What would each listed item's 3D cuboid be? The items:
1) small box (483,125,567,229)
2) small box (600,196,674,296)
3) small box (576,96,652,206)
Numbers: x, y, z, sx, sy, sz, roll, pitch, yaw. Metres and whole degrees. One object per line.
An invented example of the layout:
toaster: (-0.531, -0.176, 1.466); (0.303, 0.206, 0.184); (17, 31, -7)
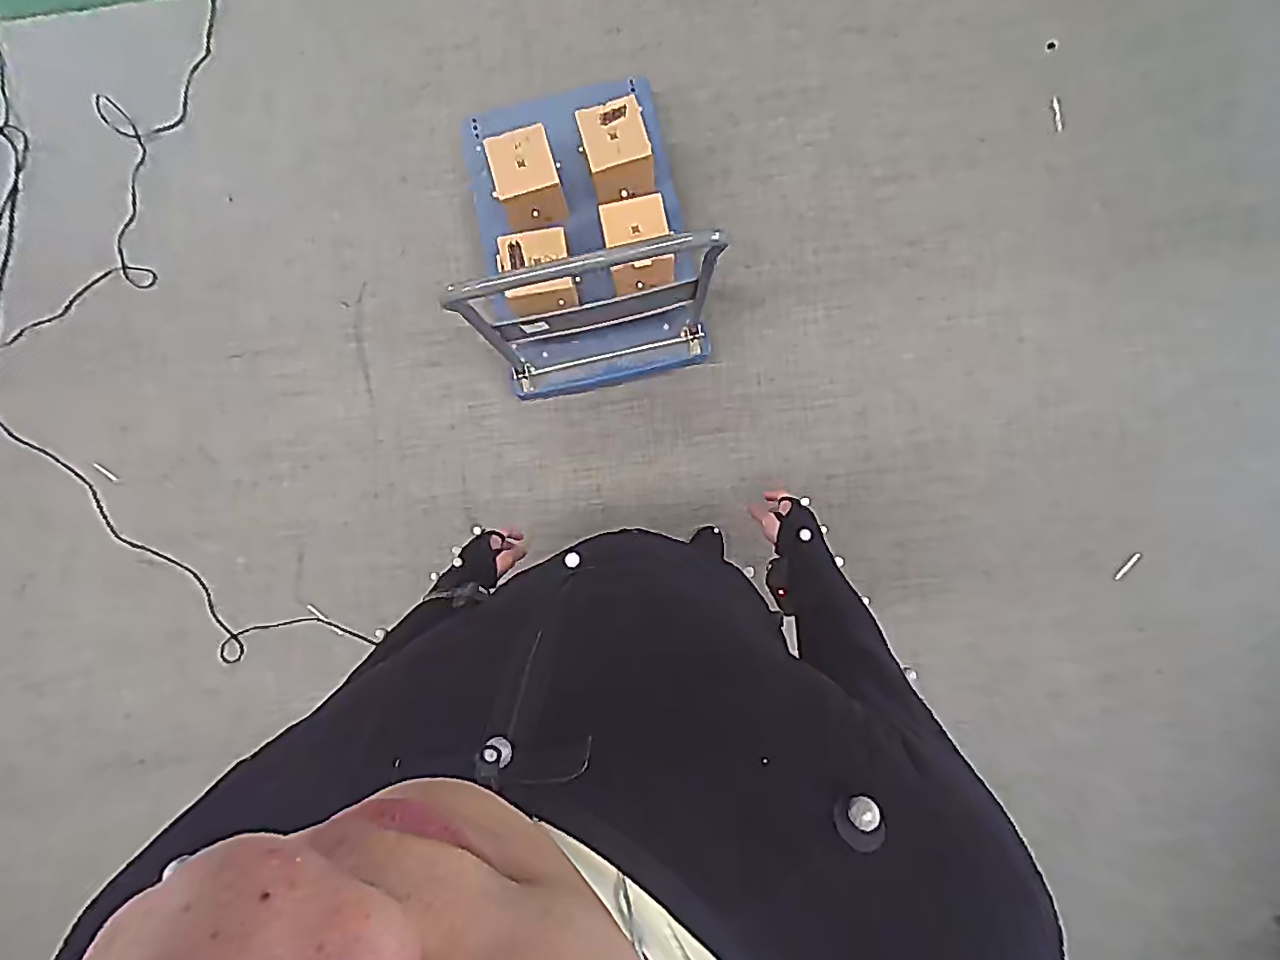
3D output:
small box: (-0.308, -0.815, 1.481); (0.168, 0.176, 0.179); (-16, 85, 0)
small box: (-0.008, -0.624, 1.456); (0.168, 0.176, 0.179); (-12, 86, 1)
small box: (-0.066, -0.887, 1.476); (0.168, 0.176, 0.179); (-16, 86, 2)
